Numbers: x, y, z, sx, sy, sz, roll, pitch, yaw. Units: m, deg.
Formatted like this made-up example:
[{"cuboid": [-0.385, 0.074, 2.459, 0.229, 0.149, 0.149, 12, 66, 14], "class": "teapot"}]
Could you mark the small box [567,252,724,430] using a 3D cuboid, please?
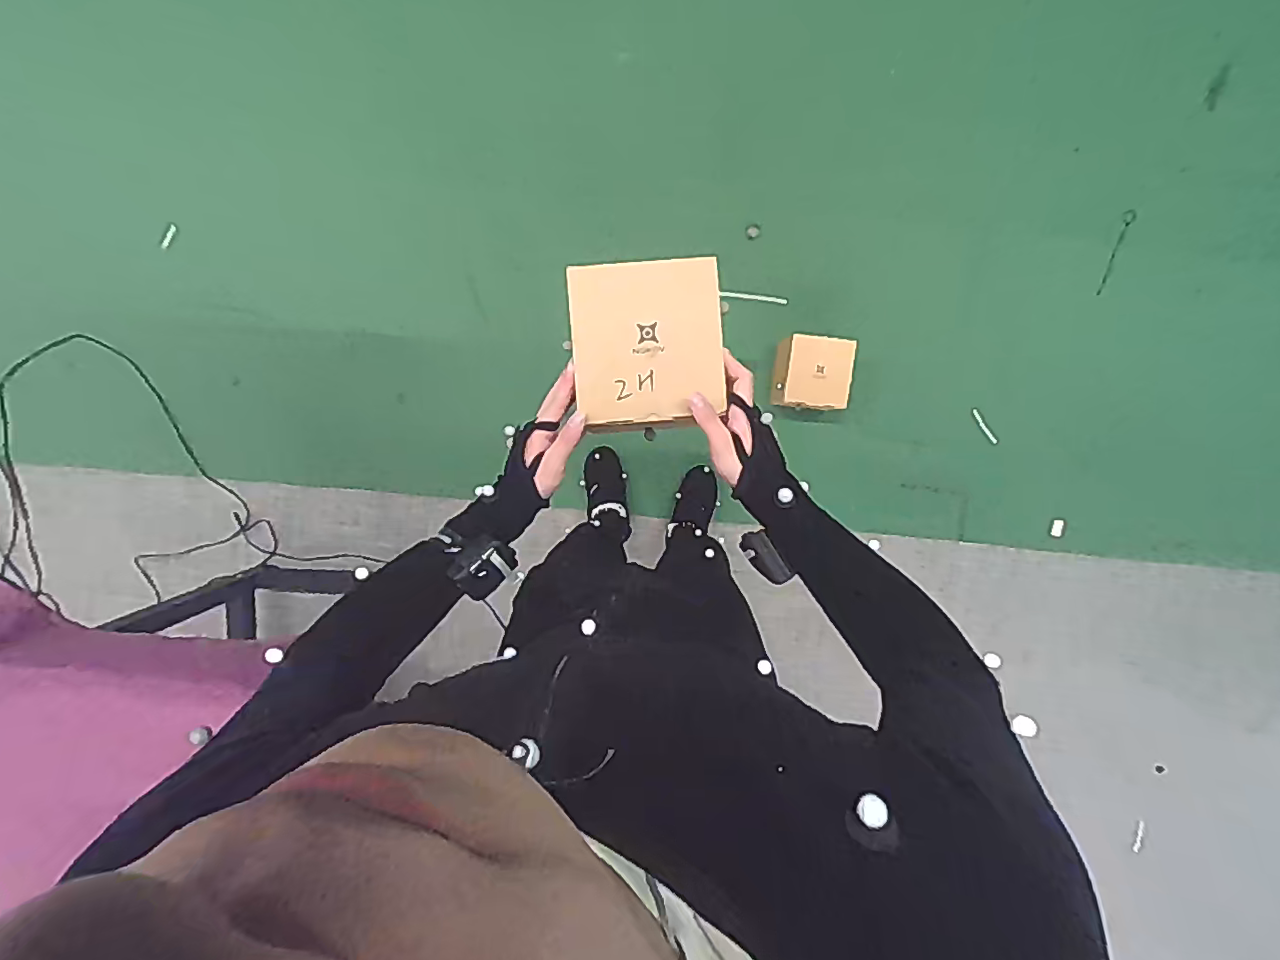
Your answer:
[{"cuboid": [0.004, -0.158, 0.663, 0.168, 0.176, 0.179, -4, 93, 0], "class": "small box"}]

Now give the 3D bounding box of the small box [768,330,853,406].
[{"cuboid": [0.454, -0.298, 1.464, 0.168, 0.176, 0.179, 6, 98, 0], "class": "small box"}]
